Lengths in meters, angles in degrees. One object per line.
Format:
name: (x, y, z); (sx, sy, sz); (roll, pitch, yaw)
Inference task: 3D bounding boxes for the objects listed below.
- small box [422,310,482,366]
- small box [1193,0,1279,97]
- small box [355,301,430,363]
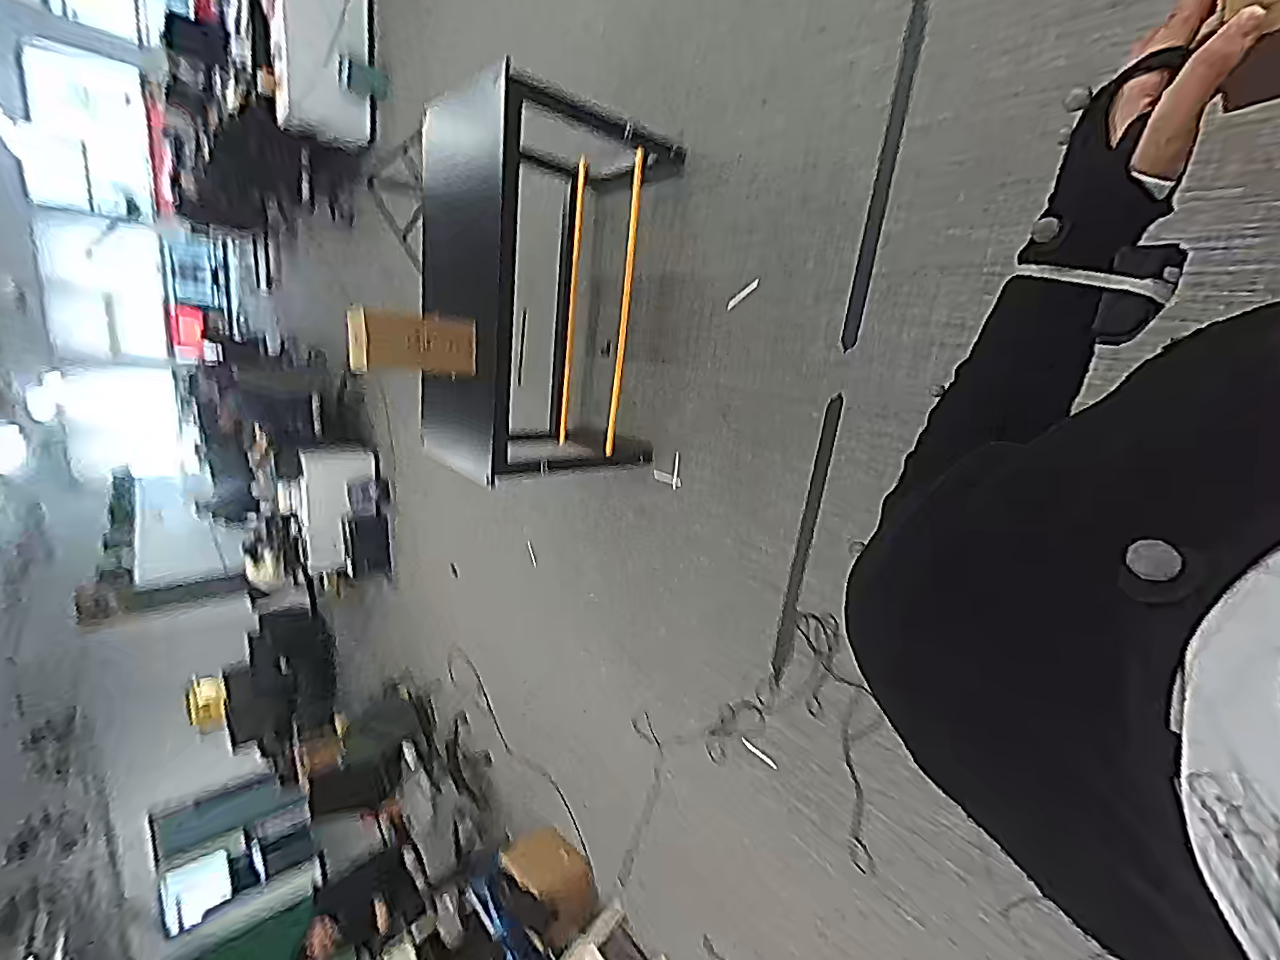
small box: (-0.628, -0.459, 1.759); (0.179, 0.176, 0.168); (16, 107, 46)
small box: (0.427, -0.342, 0.285); (0.179, 0.176, 0.168); (4, 106, 48)
small box: (-0.755, -0.446, 1.653); (0.179, 0.176, 0.168); (14, 106, 47)
